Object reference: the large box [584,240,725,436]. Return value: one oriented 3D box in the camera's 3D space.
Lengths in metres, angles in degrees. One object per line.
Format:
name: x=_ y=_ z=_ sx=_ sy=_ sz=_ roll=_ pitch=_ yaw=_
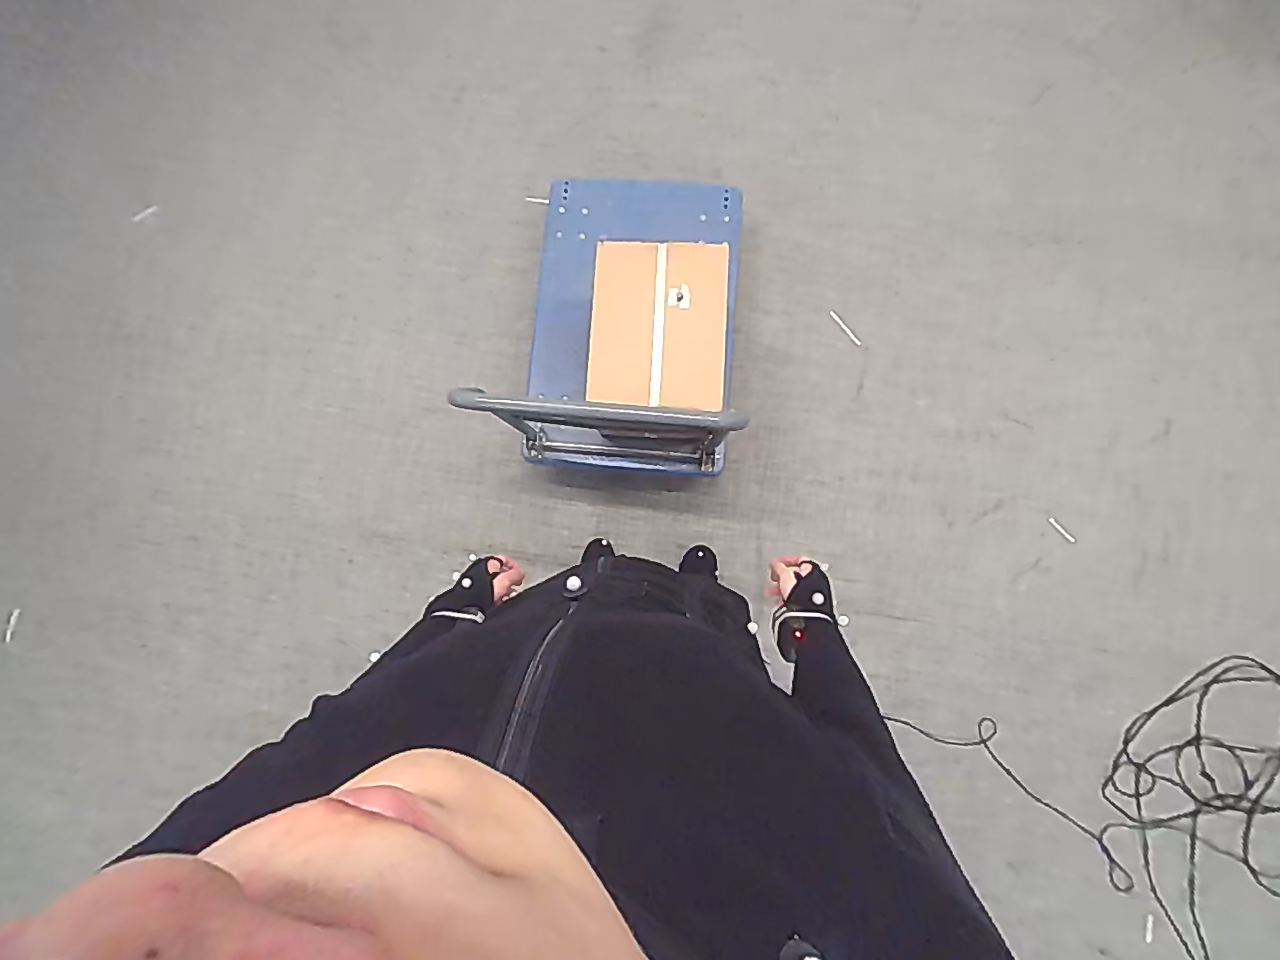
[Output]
large box: x=0.042 y=-0.339 z=1.384 sx=0.320 sy=0.320 sz=0.408 roll=4 pitch=82 yaw=2
